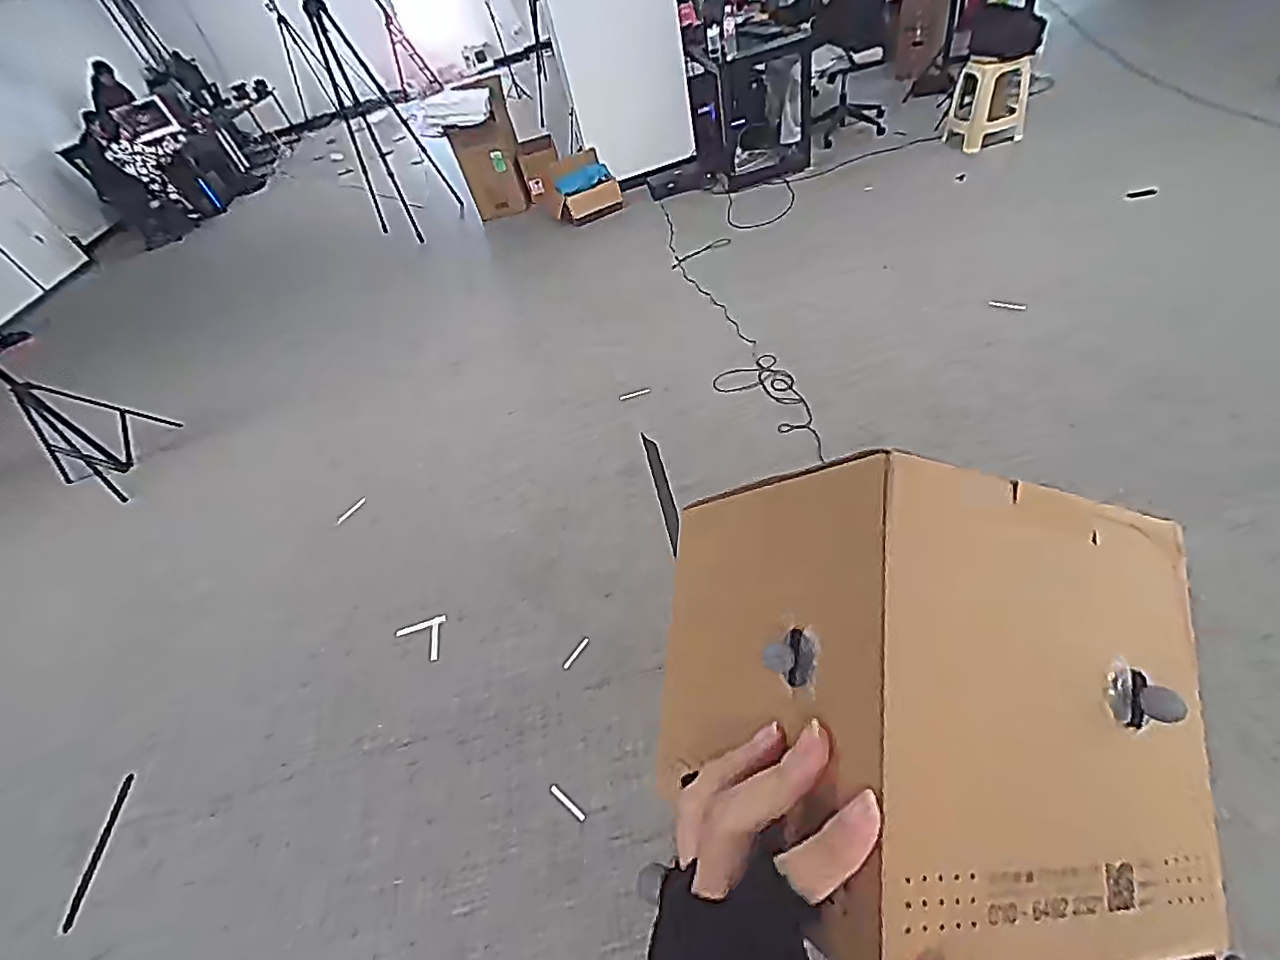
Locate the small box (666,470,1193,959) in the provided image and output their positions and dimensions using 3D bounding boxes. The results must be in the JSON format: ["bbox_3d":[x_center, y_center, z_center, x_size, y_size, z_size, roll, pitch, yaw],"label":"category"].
[{"bbox_3d":[0.123,0.103,0.275,0.168,0.179,0.176,11,76,-18],"label":"small box"}]
